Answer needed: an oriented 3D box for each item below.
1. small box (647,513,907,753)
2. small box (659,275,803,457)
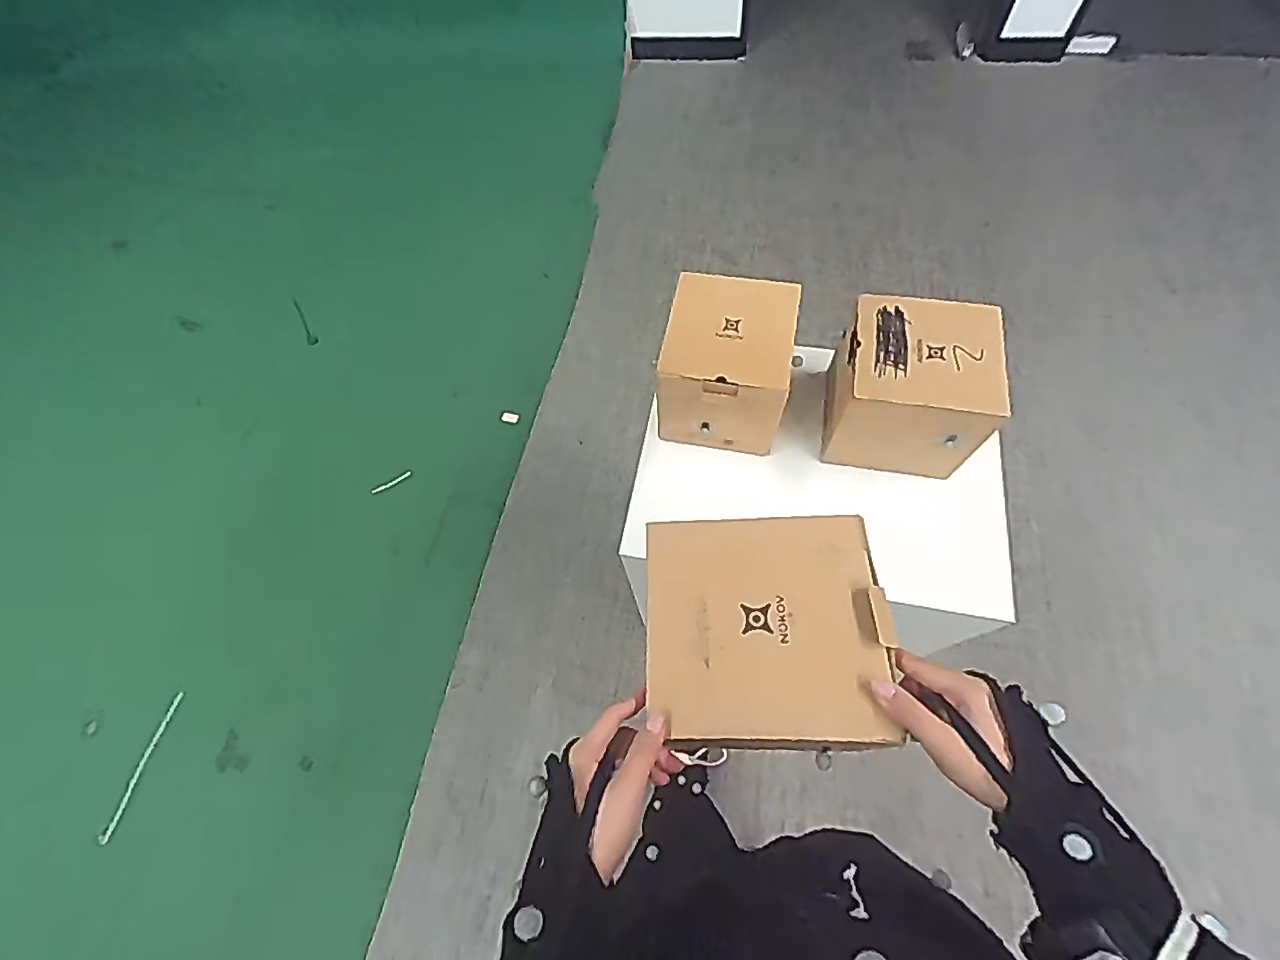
[{"bbox_3d":[0.102,0.140,0.471,0.179,0.176,0.168,-3,60,7],"label":"small box"},{"bbox_3d":[0.123,-0.156,0.767,0.168,0.176,0.179,10,66,8],"label":"small box"}]
